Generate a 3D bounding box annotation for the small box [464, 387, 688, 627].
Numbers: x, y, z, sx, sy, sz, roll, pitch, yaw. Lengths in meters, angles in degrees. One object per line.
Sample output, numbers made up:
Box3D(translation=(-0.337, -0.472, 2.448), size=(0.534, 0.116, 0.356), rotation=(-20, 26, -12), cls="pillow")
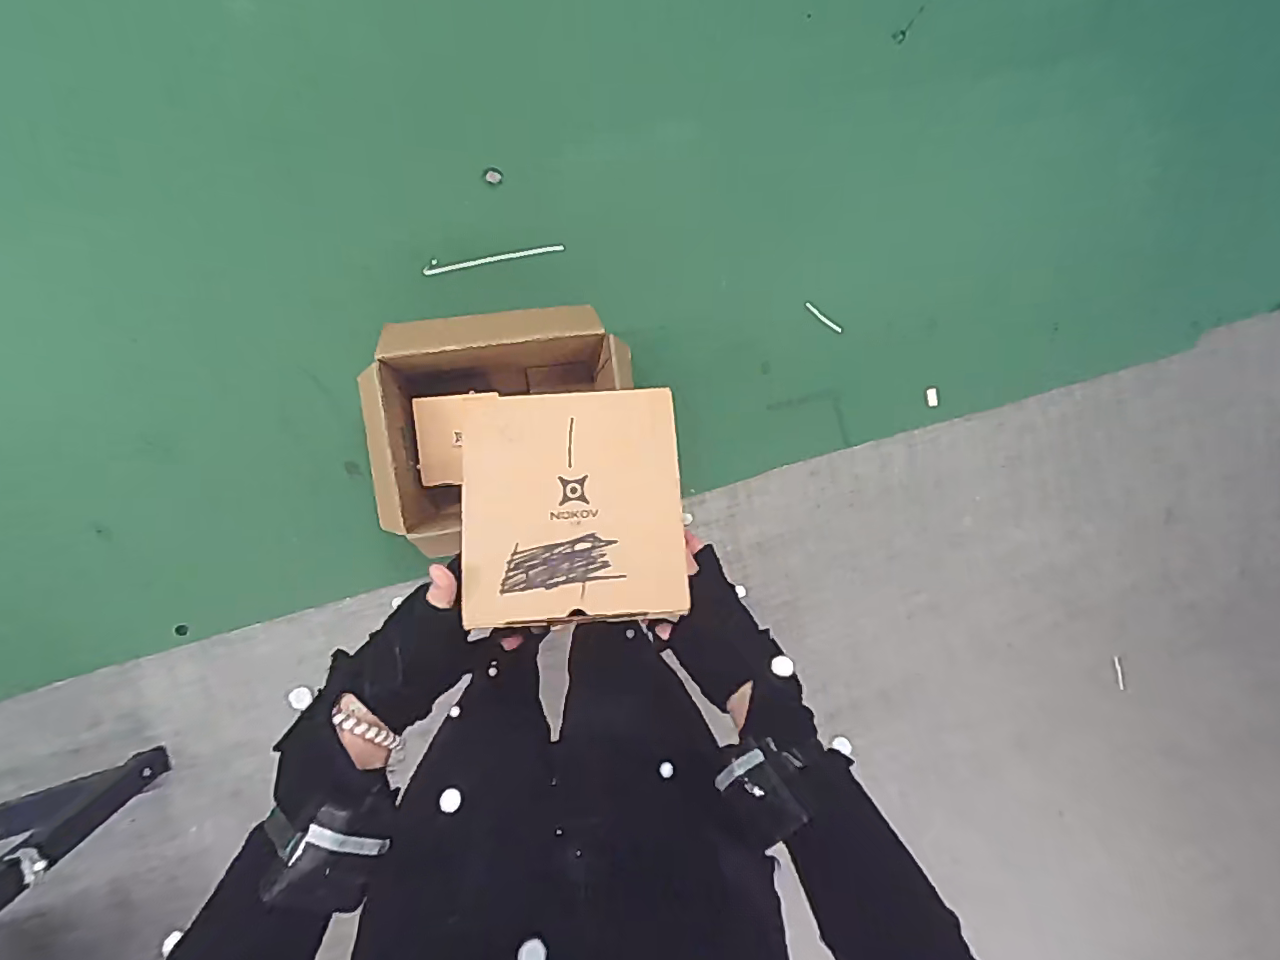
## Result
Box3D(translation=(-0.051, 0.031, 0.484), size=(0.168, 0.176, 0.179), rotation=(-3, 78, -2), cls="small box")
